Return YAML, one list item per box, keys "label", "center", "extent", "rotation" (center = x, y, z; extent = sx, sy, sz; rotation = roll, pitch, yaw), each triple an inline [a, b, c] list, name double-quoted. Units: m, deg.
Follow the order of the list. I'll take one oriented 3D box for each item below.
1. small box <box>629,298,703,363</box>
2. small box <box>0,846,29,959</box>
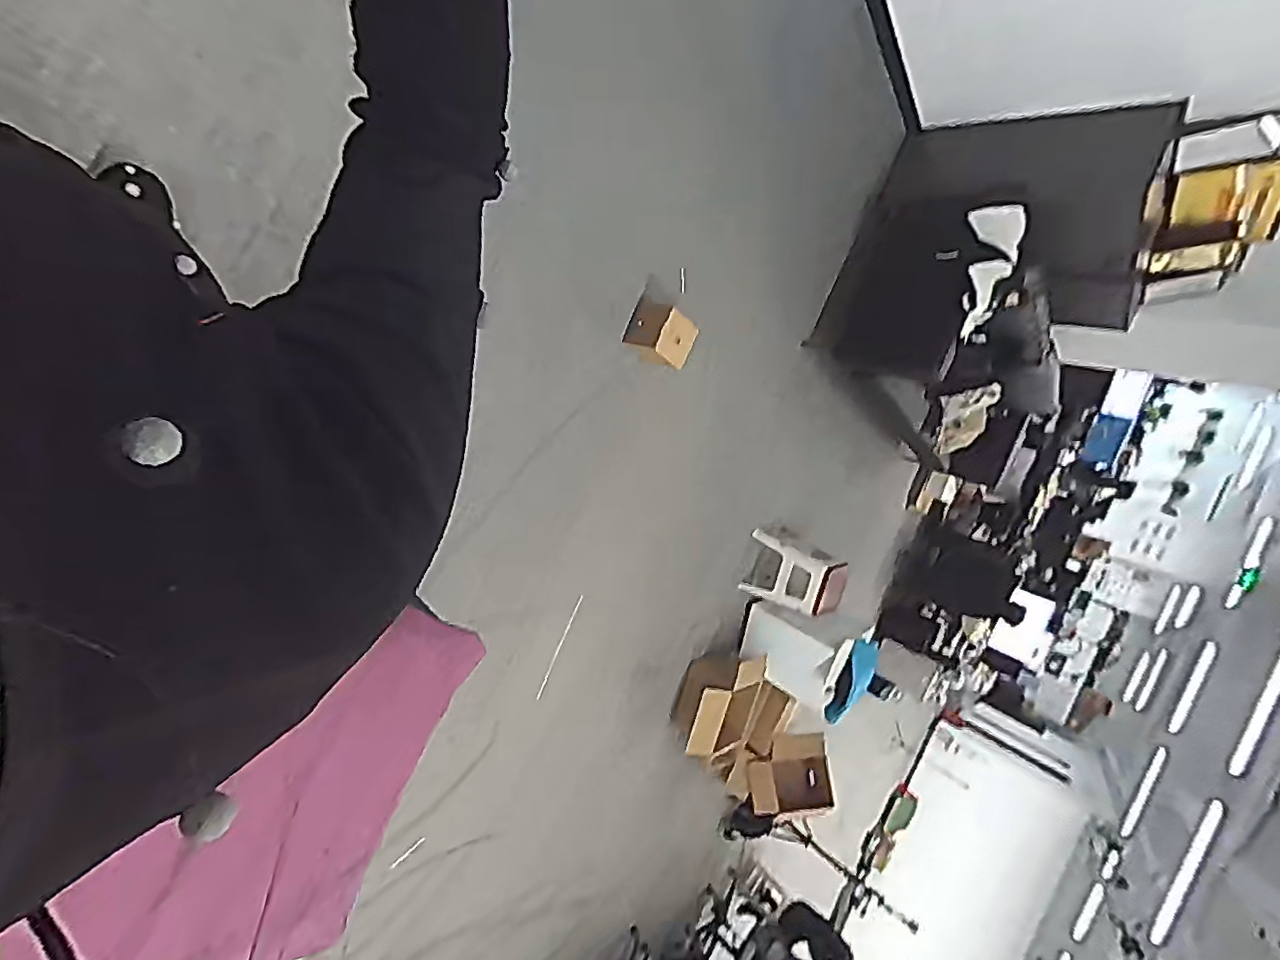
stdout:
- label: "small box"
  center: [0.094, -0.549, 1.972]
  extent: [0.179, 0.176, 0.168]
  rotation: [24, 91, -49]
- label: "small box"
  center: [-0.590, 0.400, 0.381]
  extent: [0.179, 0.176, 0.168]
  rotation: [30, 87, -49]
